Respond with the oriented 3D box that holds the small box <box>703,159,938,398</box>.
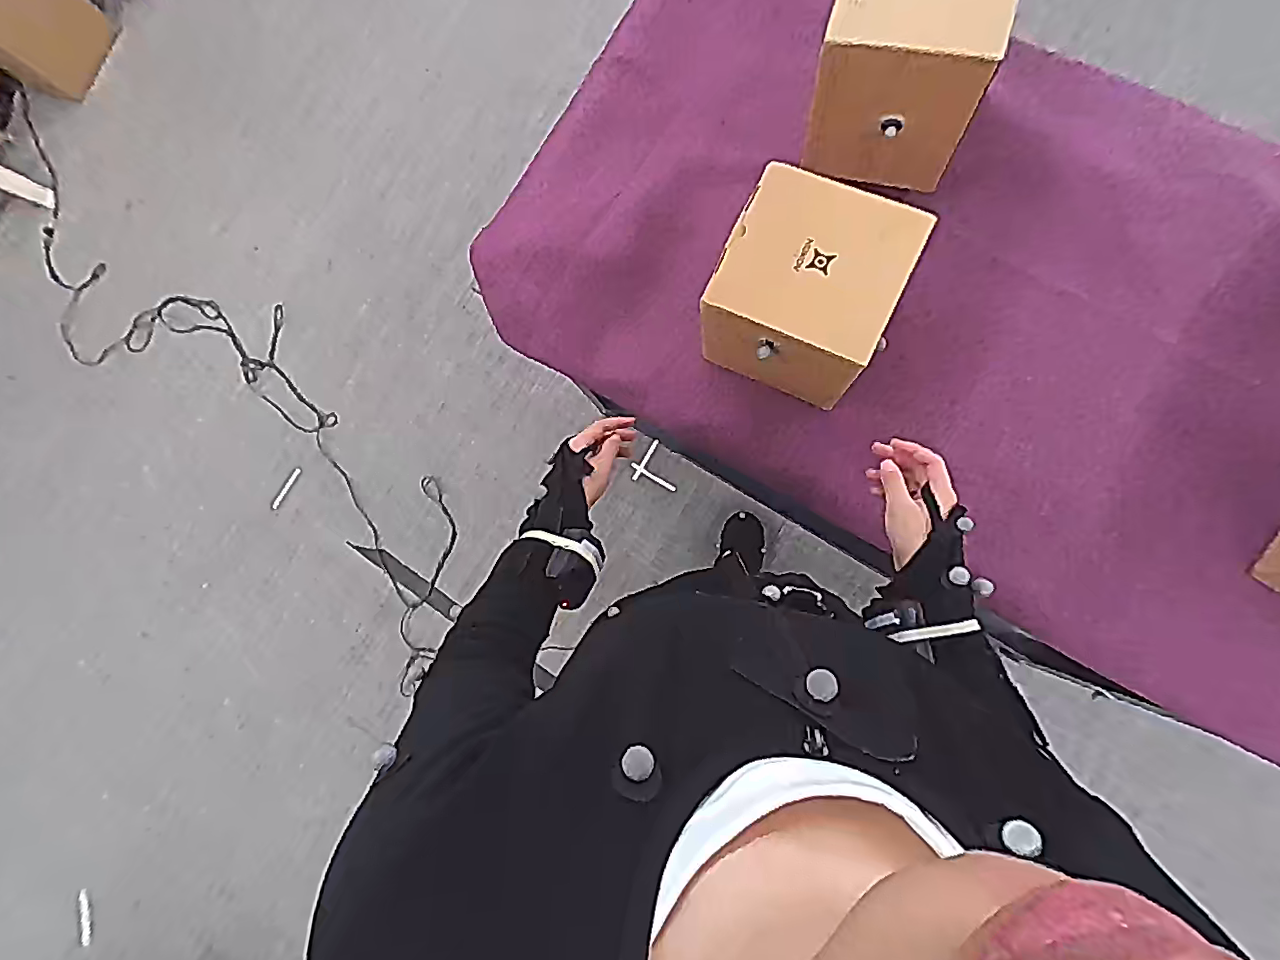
[{"bbox_3d":[0.186,-0.207,0.605,0.179,0.176,0.168,26,87,11],"label":"small box"}]
